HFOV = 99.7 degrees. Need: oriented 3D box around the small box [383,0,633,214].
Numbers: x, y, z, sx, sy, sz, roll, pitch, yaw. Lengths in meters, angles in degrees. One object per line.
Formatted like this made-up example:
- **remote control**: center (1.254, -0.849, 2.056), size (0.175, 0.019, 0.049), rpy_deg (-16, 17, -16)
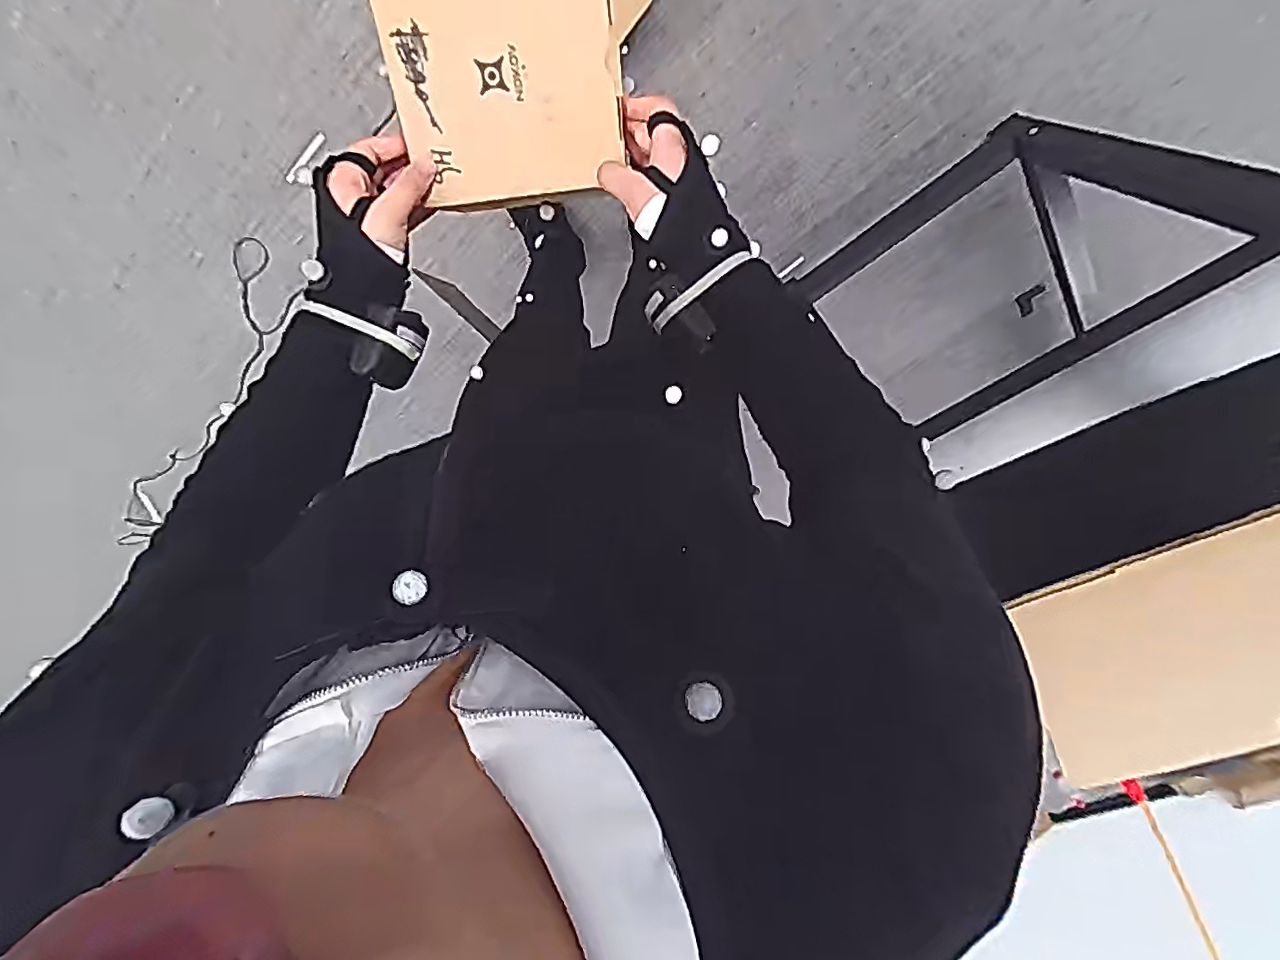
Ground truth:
- **small box**: center (-0.105, -0.346, 0.499), size (0.179, 0.176, 0.168), rpy_deg (-6, 114, -1)
